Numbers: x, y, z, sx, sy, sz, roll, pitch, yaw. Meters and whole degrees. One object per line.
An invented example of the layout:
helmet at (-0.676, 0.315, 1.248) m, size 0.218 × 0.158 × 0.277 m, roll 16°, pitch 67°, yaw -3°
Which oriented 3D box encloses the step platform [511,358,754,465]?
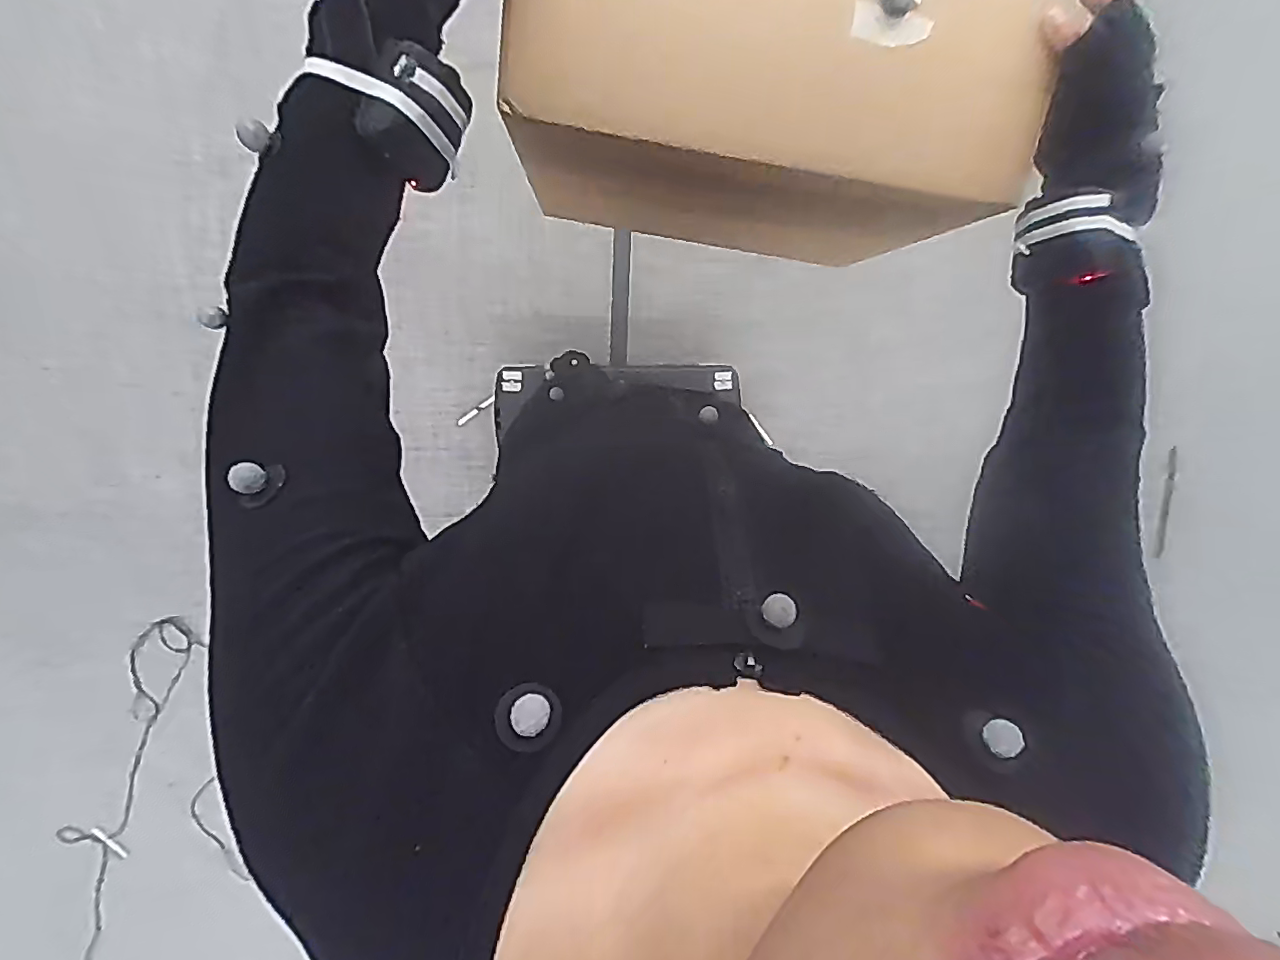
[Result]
step platform at (-0.021, -0.197, 1.549) m, size 0.684 × 0.204 × 0.286 m, roll -2°, pitch 100°, yaw -4°

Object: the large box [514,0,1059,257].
large box at (0.106, -0.430, 0.526) m, size 0.408 × 0.320 × 0.320 m, roll 6°, pitch 104°, yaw -7°
